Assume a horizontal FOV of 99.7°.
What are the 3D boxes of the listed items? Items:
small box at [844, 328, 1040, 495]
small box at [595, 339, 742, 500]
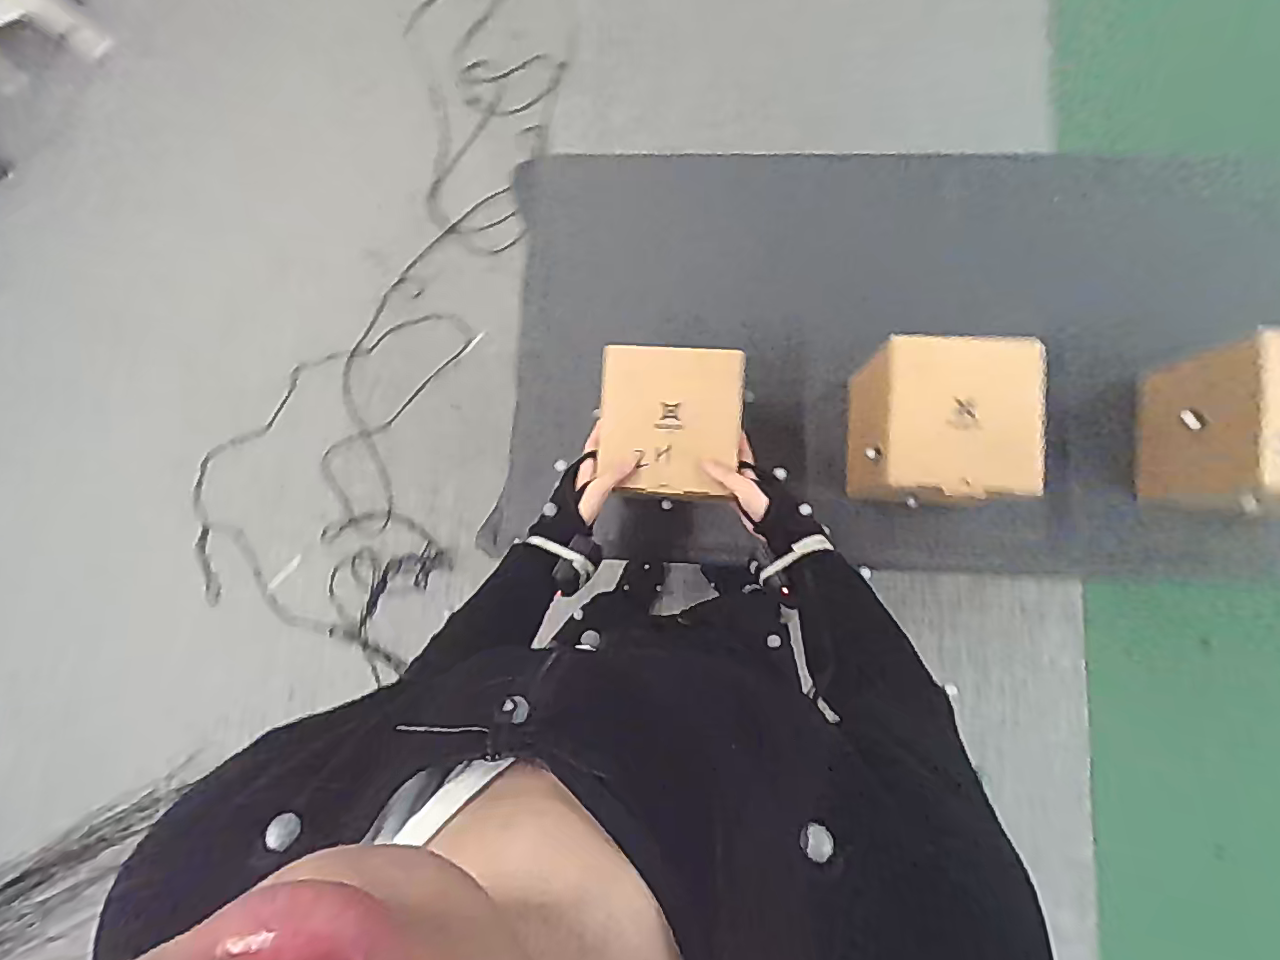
[{"bbox_3d":[0.369,-0.078,0.691,0.168,0.176,0.179,2,85,4],"label":"small box"},{"bbox_3d":[0.038,-0.069,0.708,0.168,0.176,0.179,2,85,4],"label":"small box"}]
